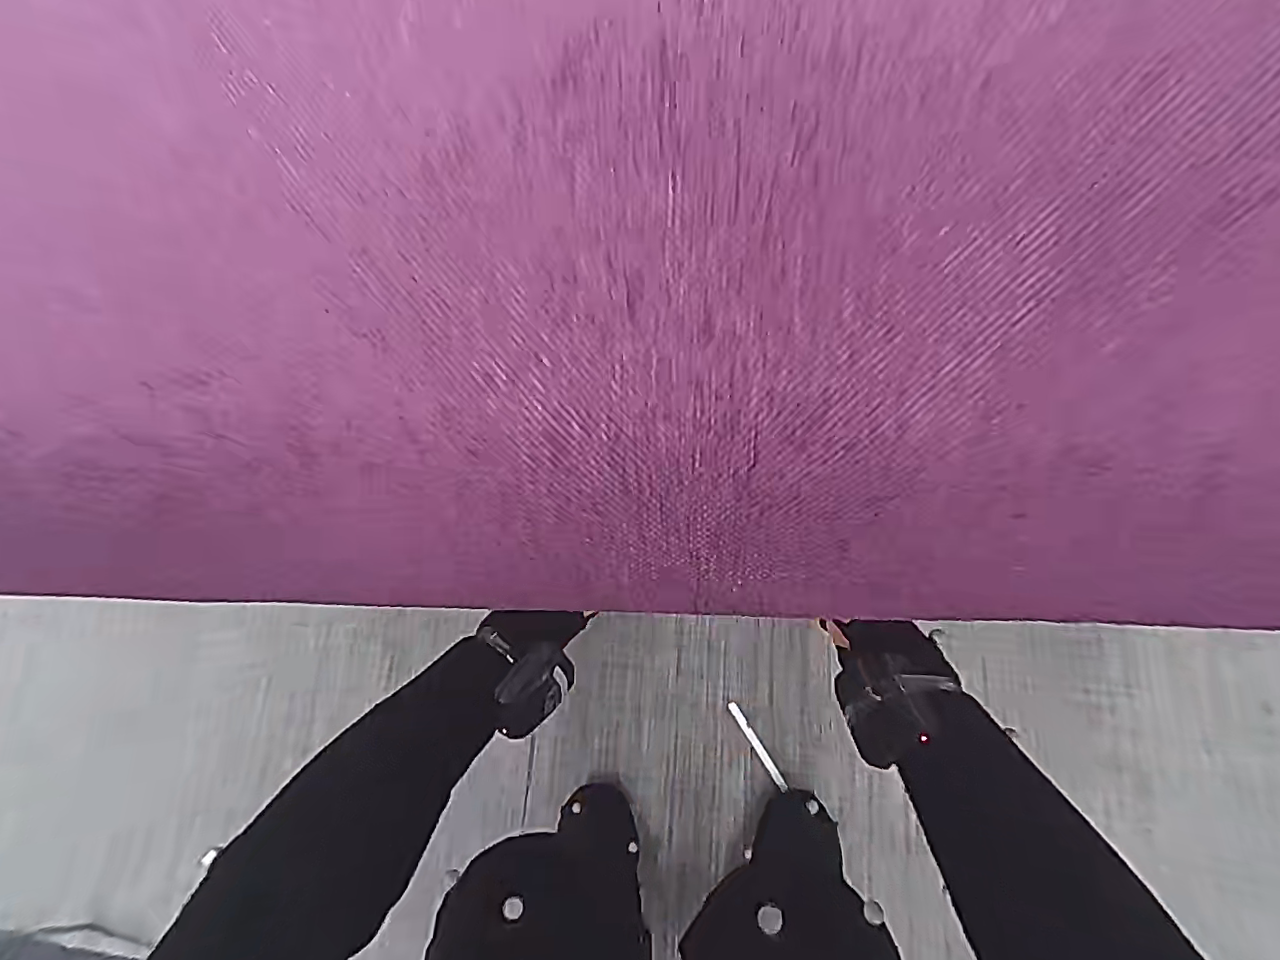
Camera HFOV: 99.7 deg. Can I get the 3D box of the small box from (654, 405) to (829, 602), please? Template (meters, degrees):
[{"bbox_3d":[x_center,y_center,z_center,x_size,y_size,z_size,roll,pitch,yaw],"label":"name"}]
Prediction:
[{"bbox_3d":[0.111,0.036,0.617,0.168,0.176,0.179,6,69,6],"label":"small box"}]
